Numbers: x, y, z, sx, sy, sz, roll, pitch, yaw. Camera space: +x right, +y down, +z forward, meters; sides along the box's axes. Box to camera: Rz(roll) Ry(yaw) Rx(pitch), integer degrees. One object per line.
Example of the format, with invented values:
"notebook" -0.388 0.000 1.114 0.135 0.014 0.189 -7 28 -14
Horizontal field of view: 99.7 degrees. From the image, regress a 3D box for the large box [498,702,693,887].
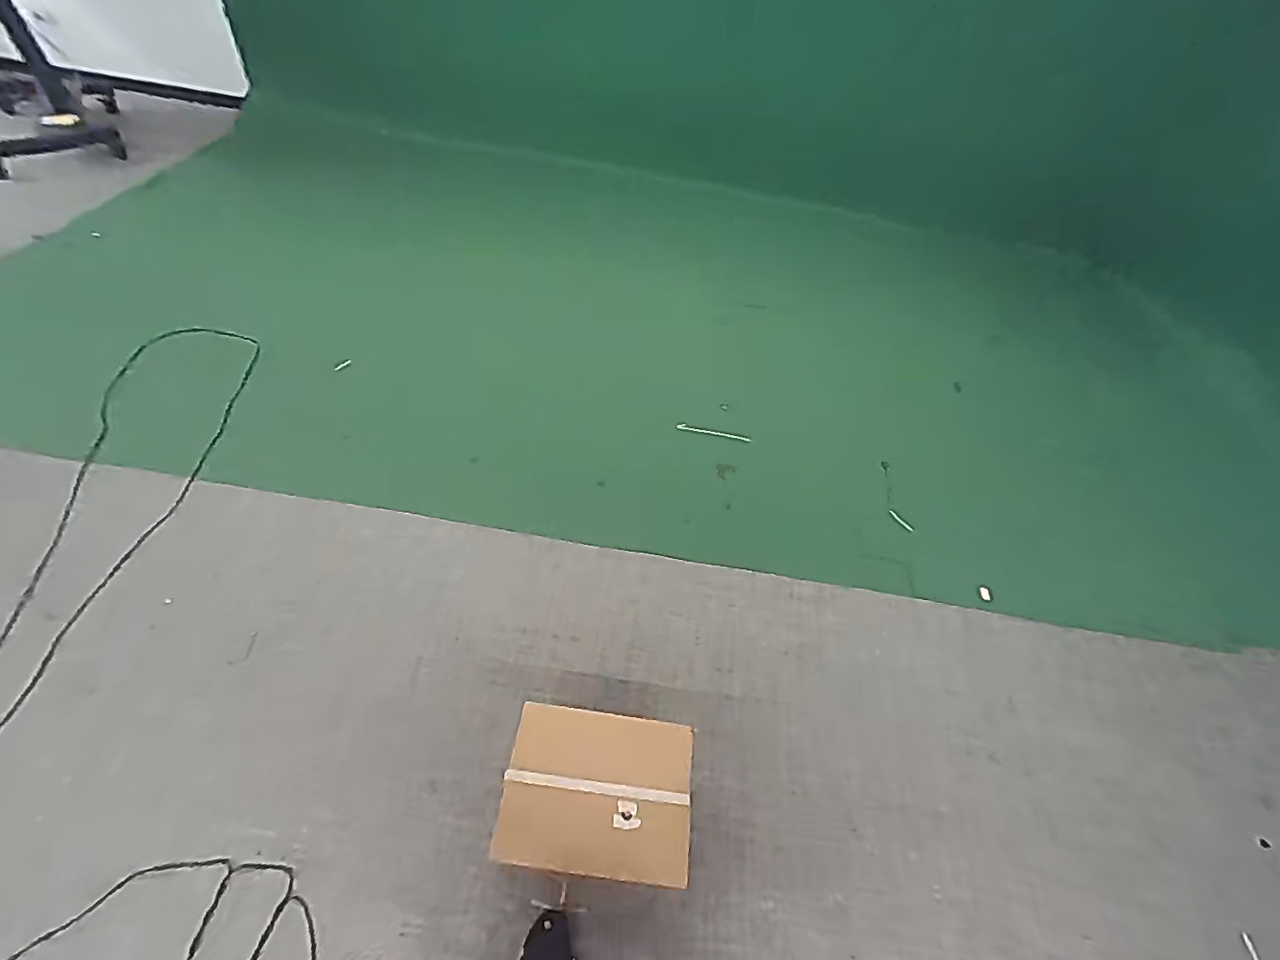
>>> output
"large box" -0.100 0.761 1.299 0.408 0.320 0.320 8 50 -2
